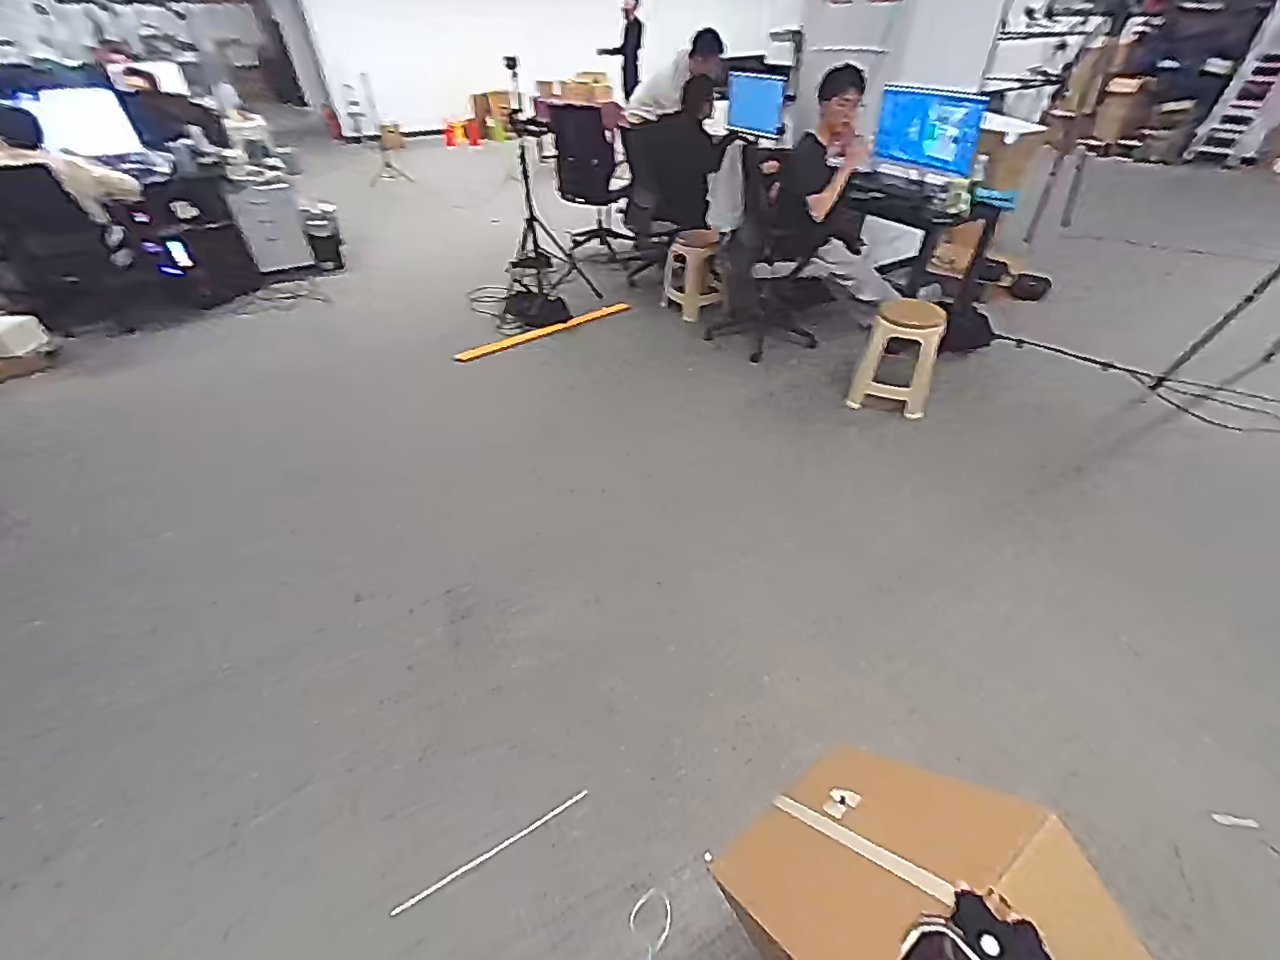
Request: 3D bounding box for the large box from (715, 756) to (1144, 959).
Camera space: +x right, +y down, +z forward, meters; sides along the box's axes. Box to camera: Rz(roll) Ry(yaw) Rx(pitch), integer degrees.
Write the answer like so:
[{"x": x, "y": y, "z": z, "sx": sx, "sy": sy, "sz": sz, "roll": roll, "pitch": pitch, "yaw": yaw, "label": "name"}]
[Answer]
[{"x": 0.373, "y": 0.635, "z": 0.722, "sx": 0.320, "sy": 0.408, "sz": 0.320, "roll": -28, "pitch": 83, "yaw": -22, "label": "large box"}]
